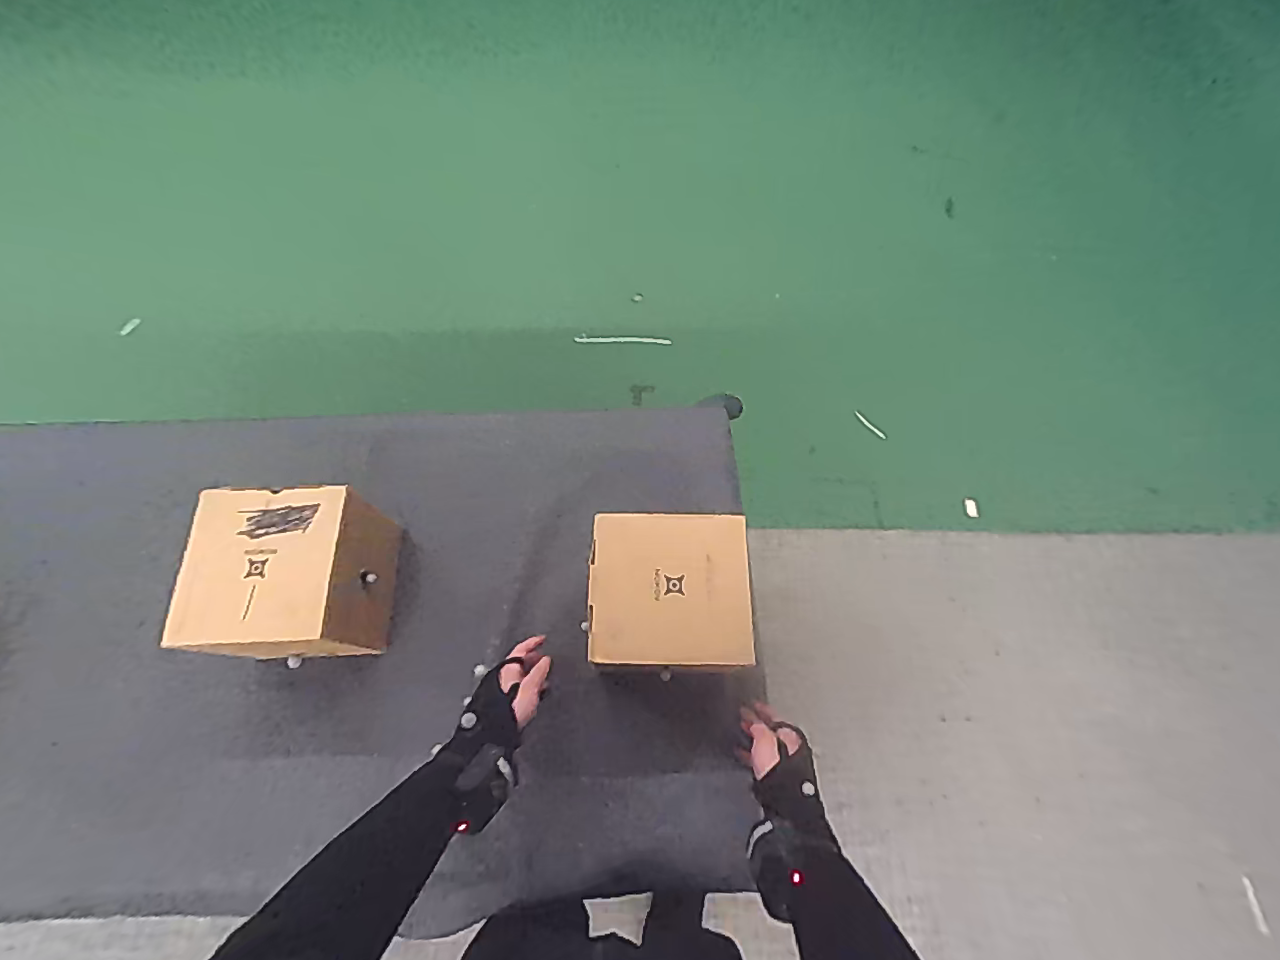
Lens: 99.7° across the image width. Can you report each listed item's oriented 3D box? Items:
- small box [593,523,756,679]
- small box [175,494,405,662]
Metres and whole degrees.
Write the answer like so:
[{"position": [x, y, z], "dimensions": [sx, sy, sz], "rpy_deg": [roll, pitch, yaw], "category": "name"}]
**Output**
[{"position": [0.036, 0.158, 0.676], "dimensions": [0.179, 0.176, 0.168], "rpy_deg": [1, 68, -2], "category": "small box"}, {"position": [-0.411, 0.128, 0.673], "dimensions": [0.168, 0.176, 0.179], "rpy_deg": [-1, 68, -2], "category": "small box"}]
